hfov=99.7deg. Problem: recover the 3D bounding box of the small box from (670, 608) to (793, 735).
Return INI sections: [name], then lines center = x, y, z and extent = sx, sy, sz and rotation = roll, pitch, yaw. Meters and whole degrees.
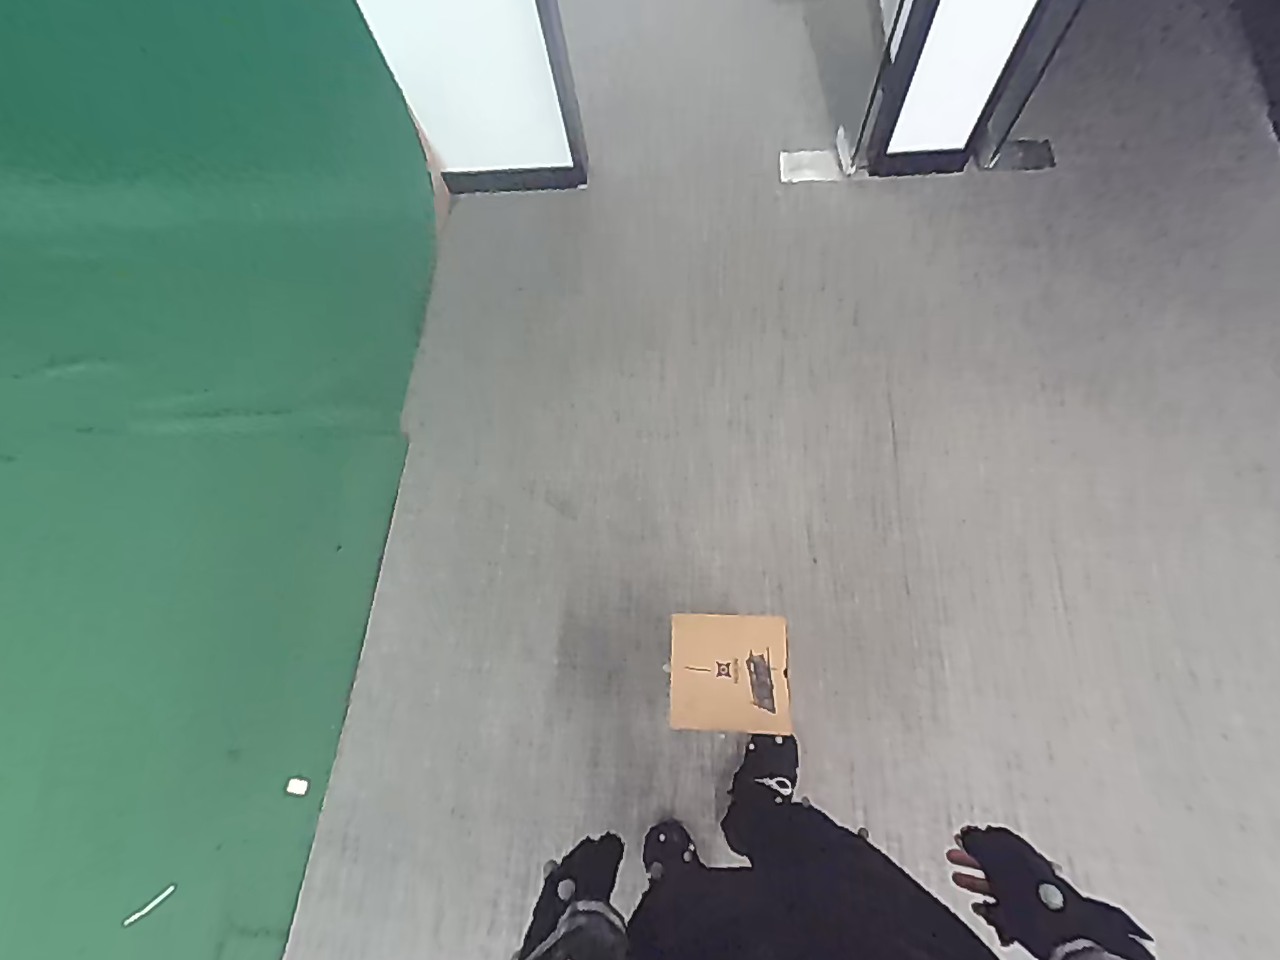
[small box]
center = 0.146, 0.311, 0.877
extent = 0.179, 0.176, 0.168
rotation = 3, 67, 8
